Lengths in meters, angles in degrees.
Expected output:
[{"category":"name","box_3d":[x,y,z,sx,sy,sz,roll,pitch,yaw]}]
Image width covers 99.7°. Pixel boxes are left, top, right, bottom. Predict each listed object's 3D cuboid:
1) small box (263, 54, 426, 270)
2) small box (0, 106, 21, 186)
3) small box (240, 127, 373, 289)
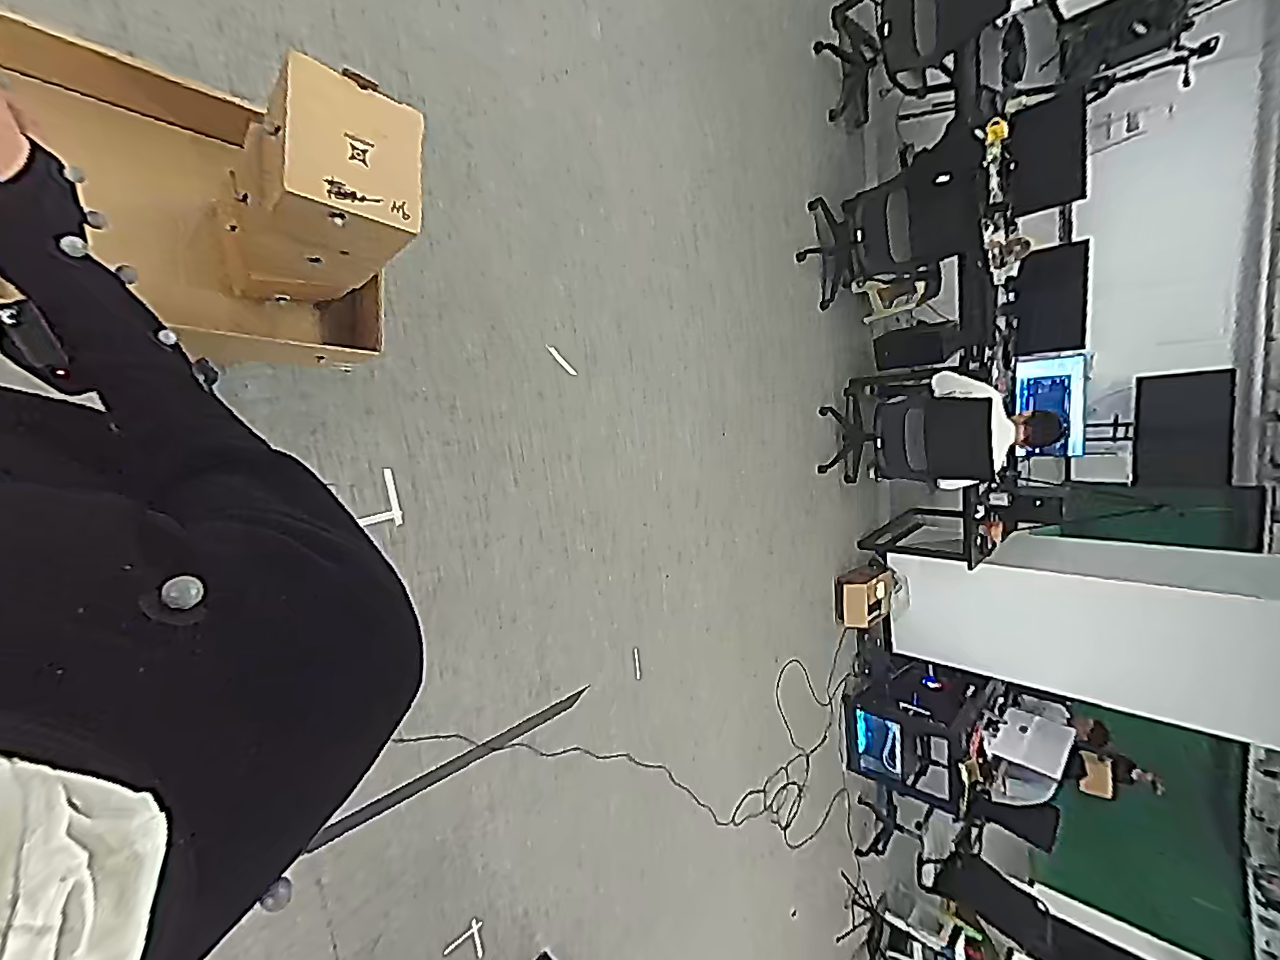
[{"category":"small box","box_3d":[-0.414,-0.422,0.755,0.168,0.176,0.179,2,88,-43]},{"category":"small box","box_3d":[-0.639,-0.333,0.414,0.179,0.176,0.168,-20,111,-32]},{"category":"small box","box_3d":[-0.529,-0.420,0.873,0.179,0.176,0.168,-6,95,-43]}]
